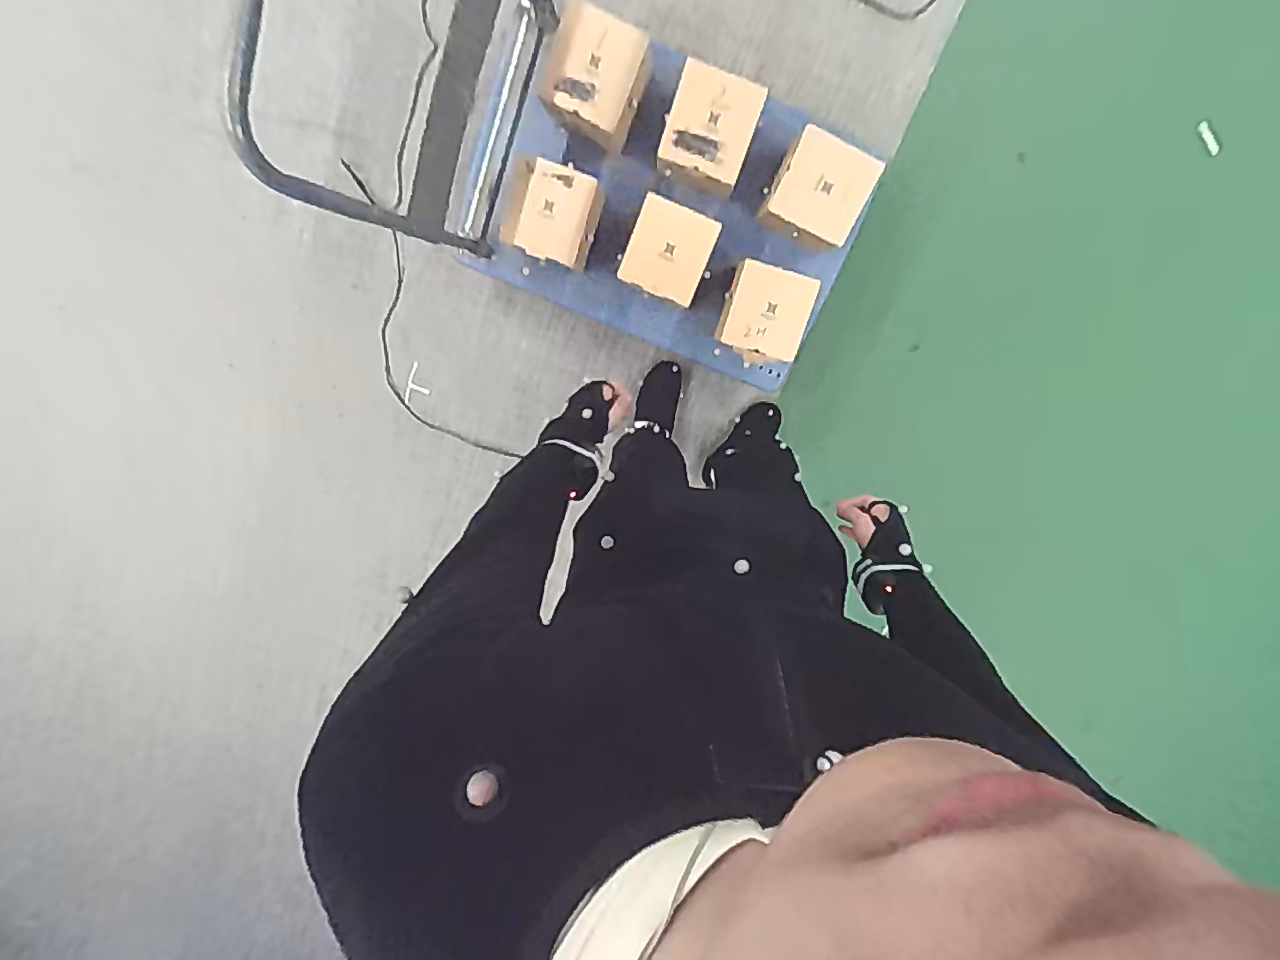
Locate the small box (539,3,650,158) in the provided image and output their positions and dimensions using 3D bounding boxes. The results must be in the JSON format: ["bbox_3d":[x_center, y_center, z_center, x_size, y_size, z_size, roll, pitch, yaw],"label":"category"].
[{"bbox_3d":[-0.084,-0.792,1.098,0.168,0.176,0.179,24,106,-6],"label":"small box"}]

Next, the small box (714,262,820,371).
[{"bbox_3d":[0.271,-0.364,1.212,0.168,0.176,0.179,23,107,-2],"label":"small box"}]

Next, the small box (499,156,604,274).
[{"bbox_3d":[-0.183,-0.560,1.172,0.168,0.176,0.179,20,107,-4],"label":"small box"}]

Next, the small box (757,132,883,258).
[{"bbox_3d":[0.367,-0.588,1.144,0.179,0.176,0.168,25,107,-5],"label":"small box"}]
